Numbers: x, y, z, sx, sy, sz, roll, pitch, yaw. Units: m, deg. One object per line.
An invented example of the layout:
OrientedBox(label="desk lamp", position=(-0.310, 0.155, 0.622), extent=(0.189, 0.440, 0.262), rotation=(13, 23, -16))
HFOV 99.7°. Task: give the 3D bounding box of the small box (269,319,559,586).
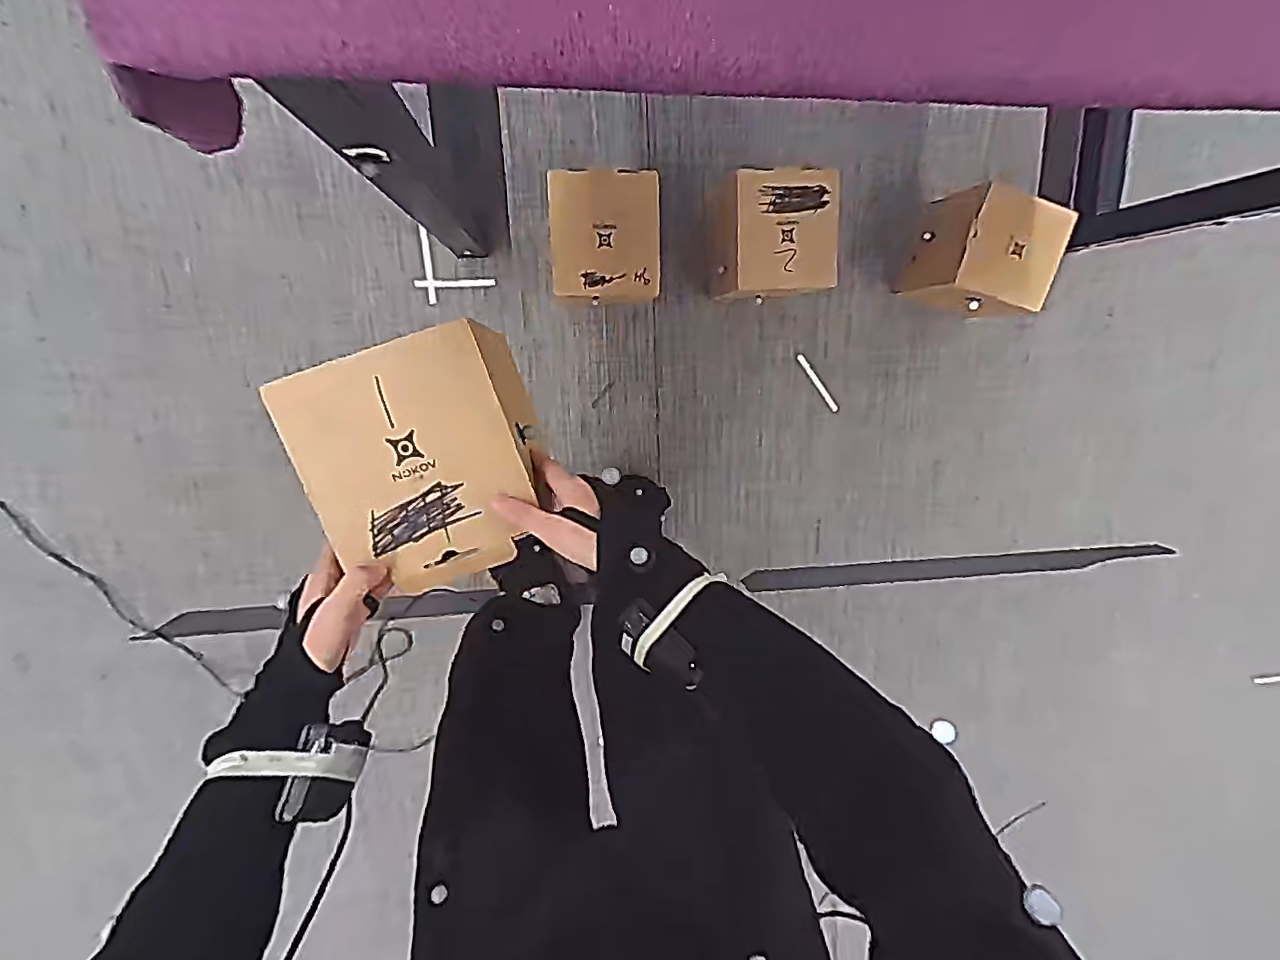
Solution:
OrientedBox(label="small box", position=(-0.181, -0.033, 0.500), extent=(0.168, 0.176, 0.179), rotation=(-19, 101, -1))

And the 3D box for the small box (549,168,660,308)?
OrientedBox(label="small box", position=(-0.062, -0.380, 0.878), extent=(0.168, 0.176, 0.179), rotation=(-2, 103, -8))

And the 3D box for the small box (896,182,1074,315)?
OrientedBox(label="small box", position=(0.605, -0.400, 0.969), extent=(0.179, 0.176, 0.168), rotation=(13, 102, -10))
